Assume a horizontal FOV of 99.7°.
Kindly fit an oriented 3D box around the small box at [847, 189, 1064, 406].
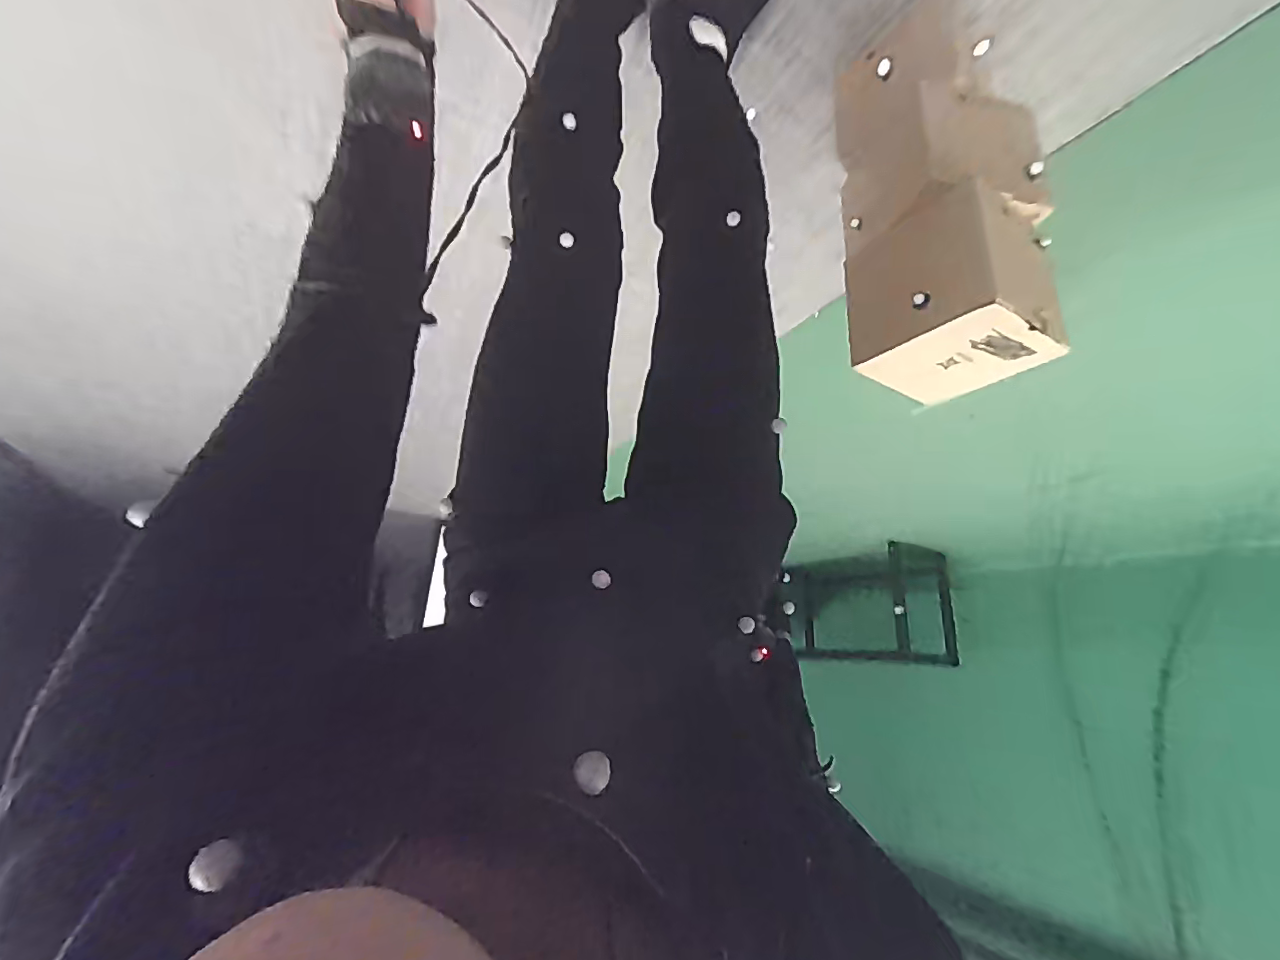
[{"bbox_3d":[0.383,-0.219,0.680,0.168,0.176,0.179,15,159,-29],"label":"small box"}]
